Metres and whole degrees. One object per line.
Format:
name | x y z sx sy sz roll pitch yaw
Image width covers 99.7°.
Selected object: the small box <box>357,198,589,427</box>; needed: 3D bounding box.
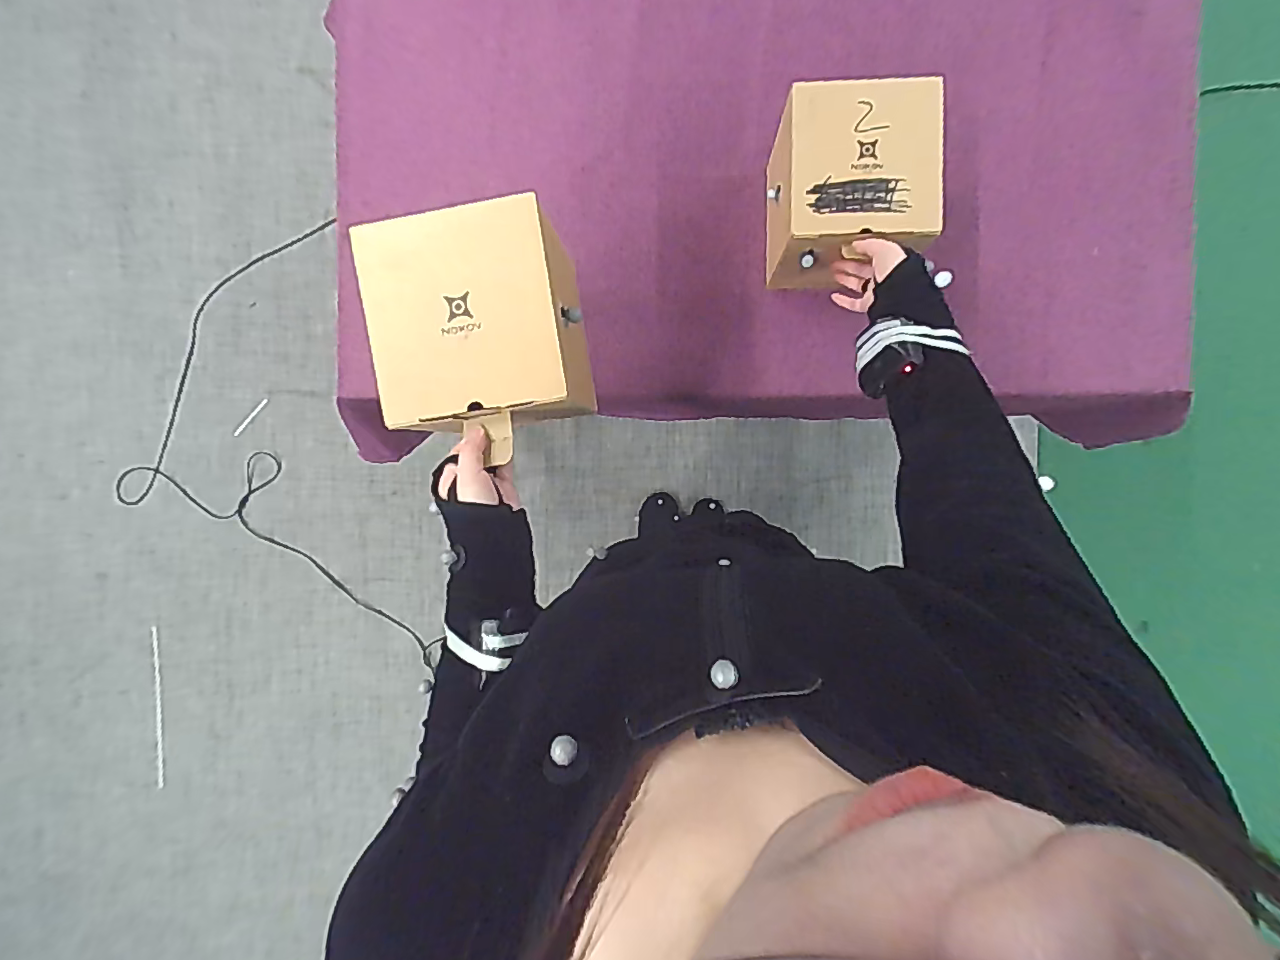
small box | -0.153 -0.153 0.555 0.168 0.176 0.179 -9 94 4
